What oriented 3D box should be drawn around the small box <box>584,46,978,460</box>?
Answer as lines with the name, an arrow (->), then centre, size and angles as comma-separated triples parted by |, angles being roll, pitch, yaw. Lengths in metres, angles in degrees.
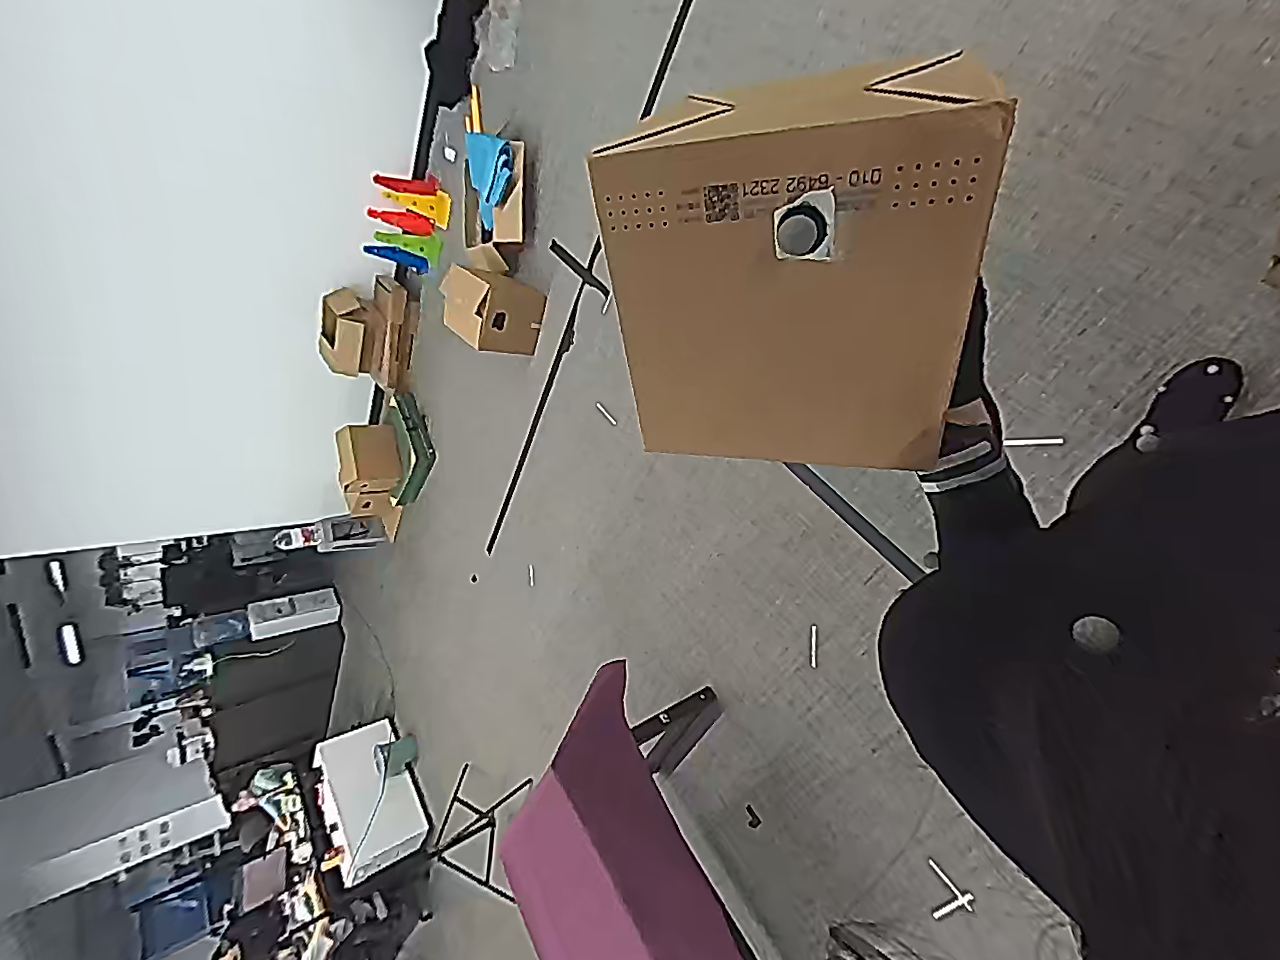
small box -> 0.088, -0.134, 0.321 | 0.168, 0.179, 0.176 | 5, 132, 23
